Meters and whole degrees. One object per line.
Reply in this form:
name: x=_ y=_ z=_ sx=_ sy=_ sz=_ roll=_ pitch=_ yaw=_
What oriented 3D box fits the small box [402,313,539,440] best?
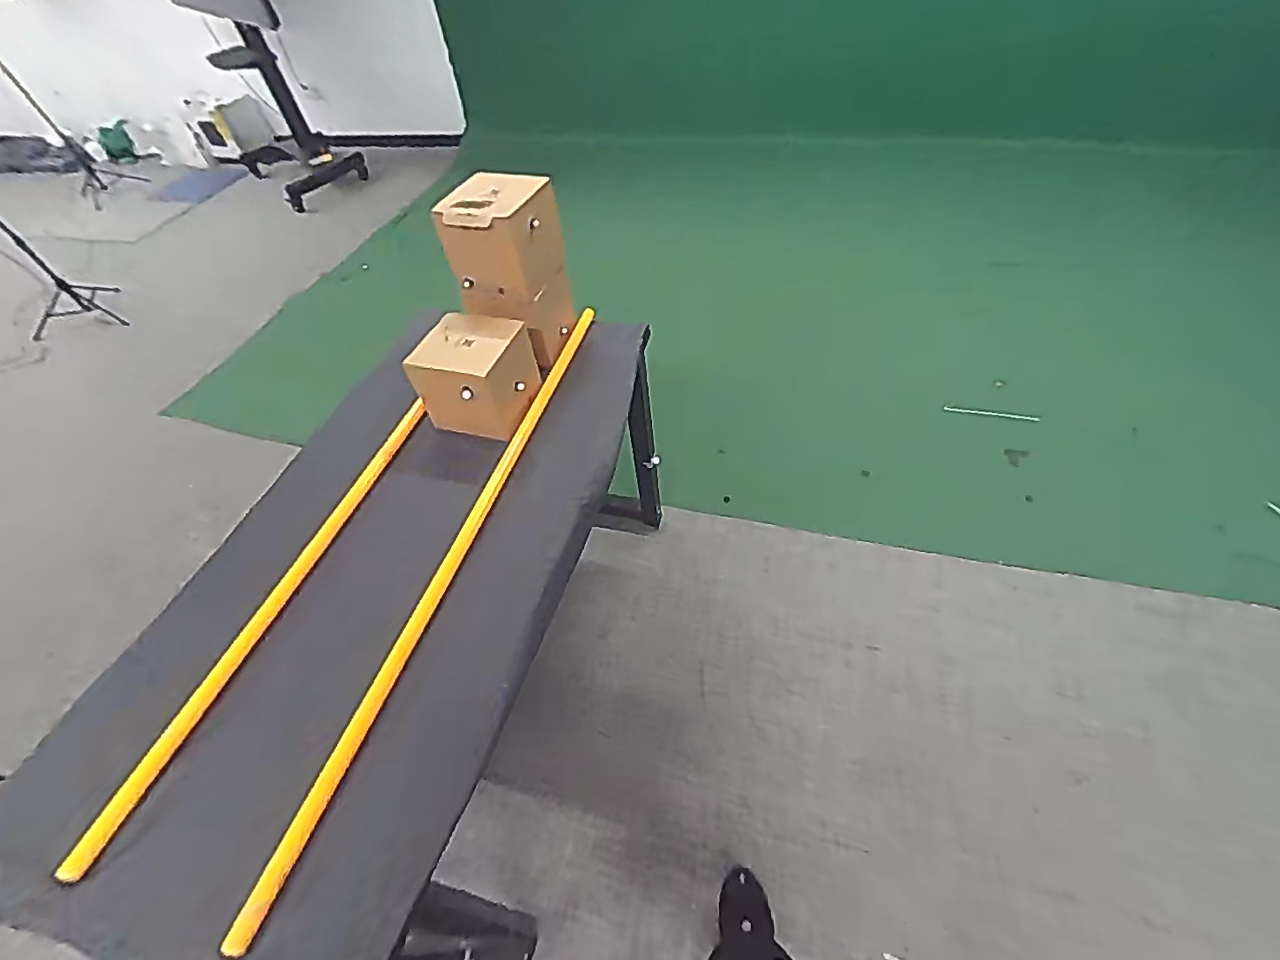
small box: x=-0.317 y=-0.199 z=1.059 sx=0.179 sy=0.176 sz=0.168 roll=11 pitch=52 yaw=15

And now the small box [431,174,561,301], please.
small box: x=-0.271 y=-0.477 z=1.068 sx=0.168 sy=0.176 sz=0.179 roll=13 pitch=53 yaw=15
